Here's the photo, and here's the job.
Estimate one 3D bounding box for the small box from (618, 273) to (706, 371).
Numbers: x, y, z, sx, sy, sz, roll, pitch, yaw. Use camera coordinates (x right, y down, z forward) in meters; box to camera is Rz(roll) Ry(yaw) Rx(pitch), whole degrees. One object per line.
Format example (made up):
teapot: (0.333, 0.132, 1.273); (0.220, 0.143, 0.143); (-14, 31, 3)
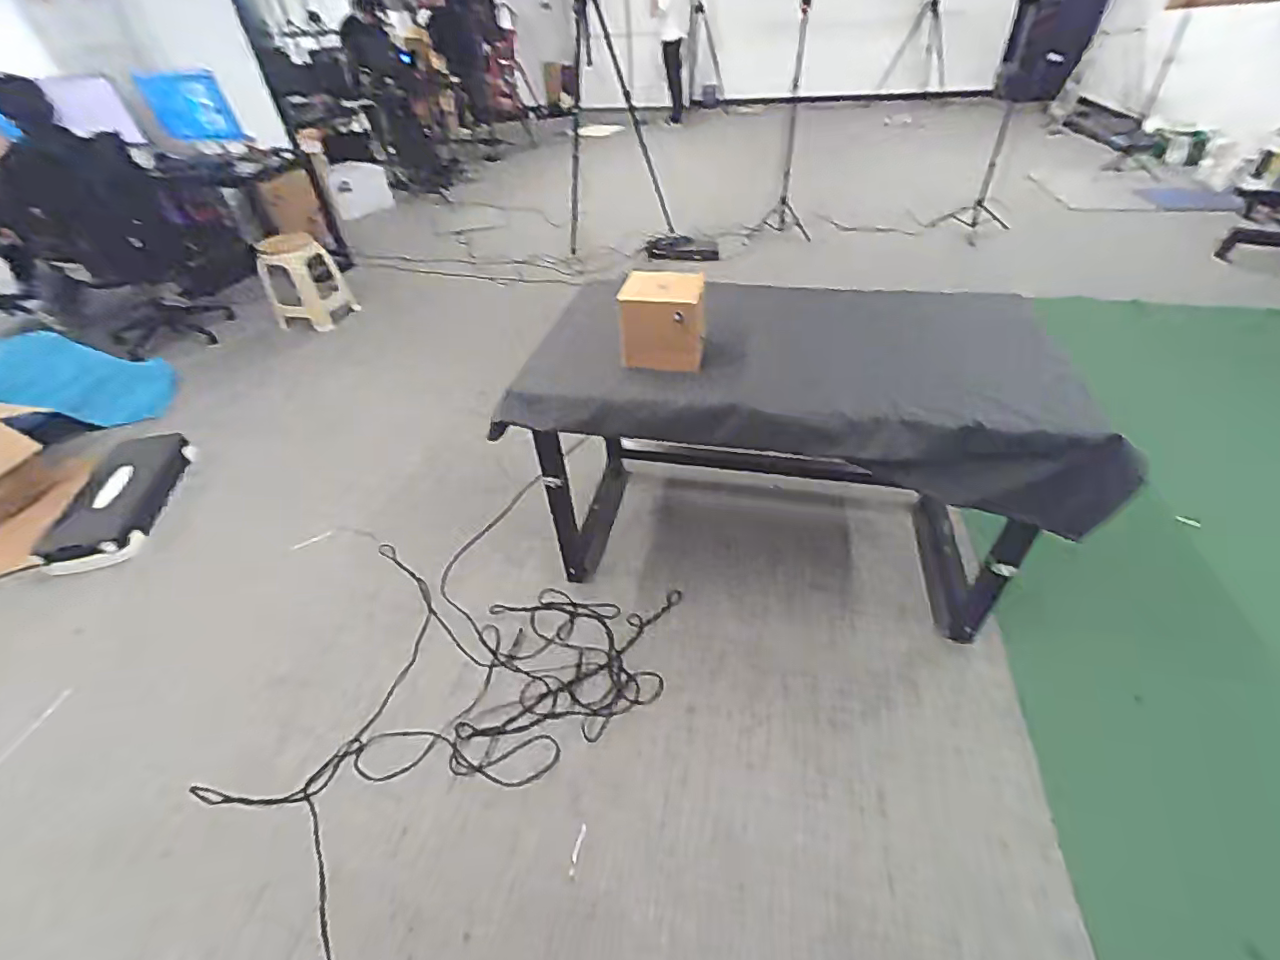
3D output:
small box: (0.057, -0.366, 1.254); (0.179, 0.176, 0.168); (6, 42, 11)
